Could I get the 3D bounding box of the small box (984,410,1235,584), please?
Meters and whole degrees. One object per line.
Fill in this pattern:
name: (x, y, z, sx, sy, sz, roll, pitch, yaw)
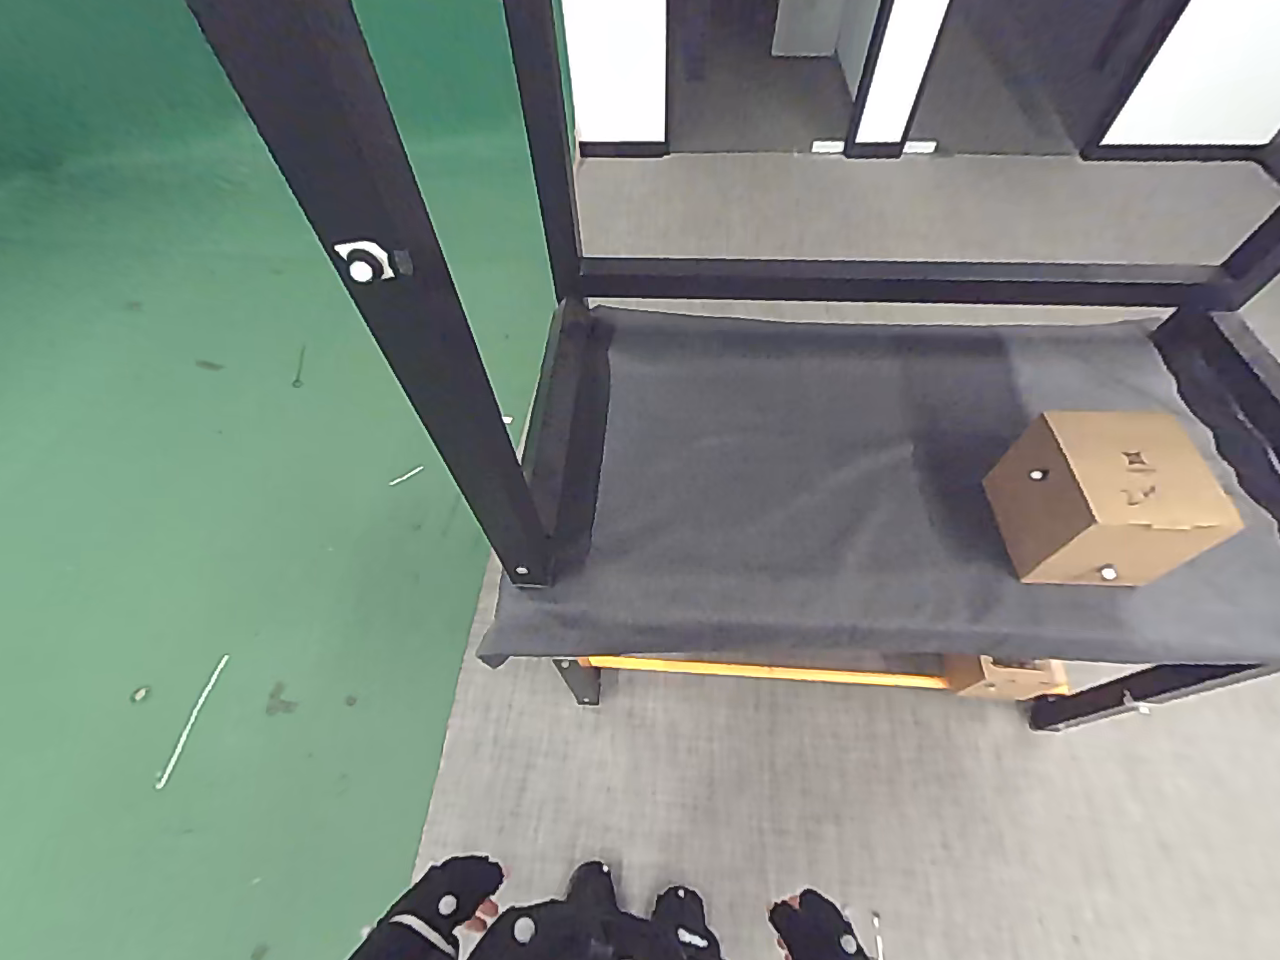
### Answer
small box: (0.613, 0.025, 0.742, 0.168, 0.176, 0.179, 1, 55, 3)
